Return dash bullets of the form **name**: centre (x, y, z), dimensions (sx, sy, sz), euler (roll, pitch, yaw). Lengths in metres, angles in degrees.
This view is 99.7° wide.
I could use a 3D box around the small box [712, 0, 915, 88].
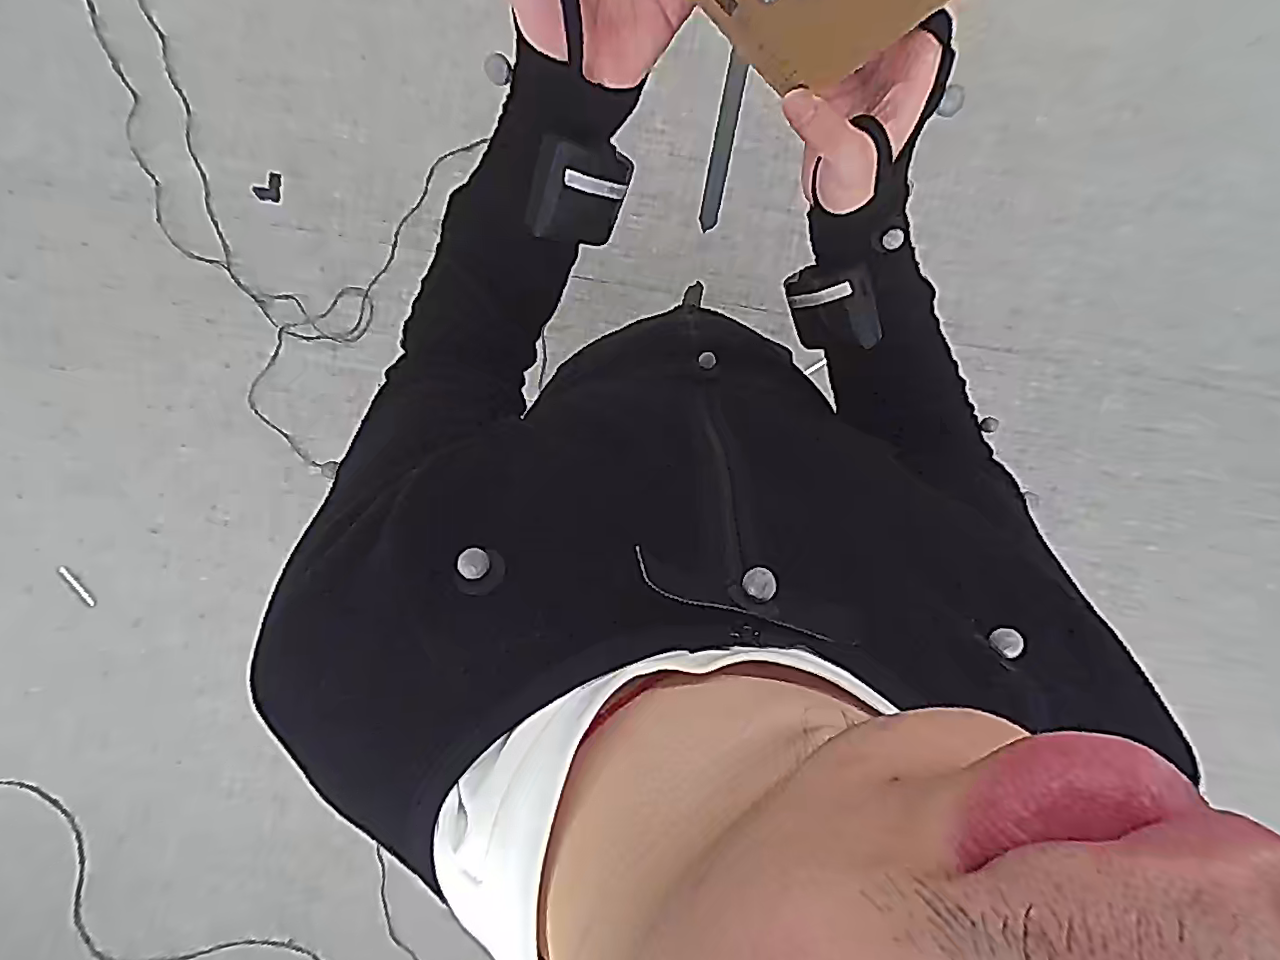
- **small box**: centre (0.082, -0.283, 0.179), dimensions (0.168, 0.176, 0.179), euler (35, 104, -18)
